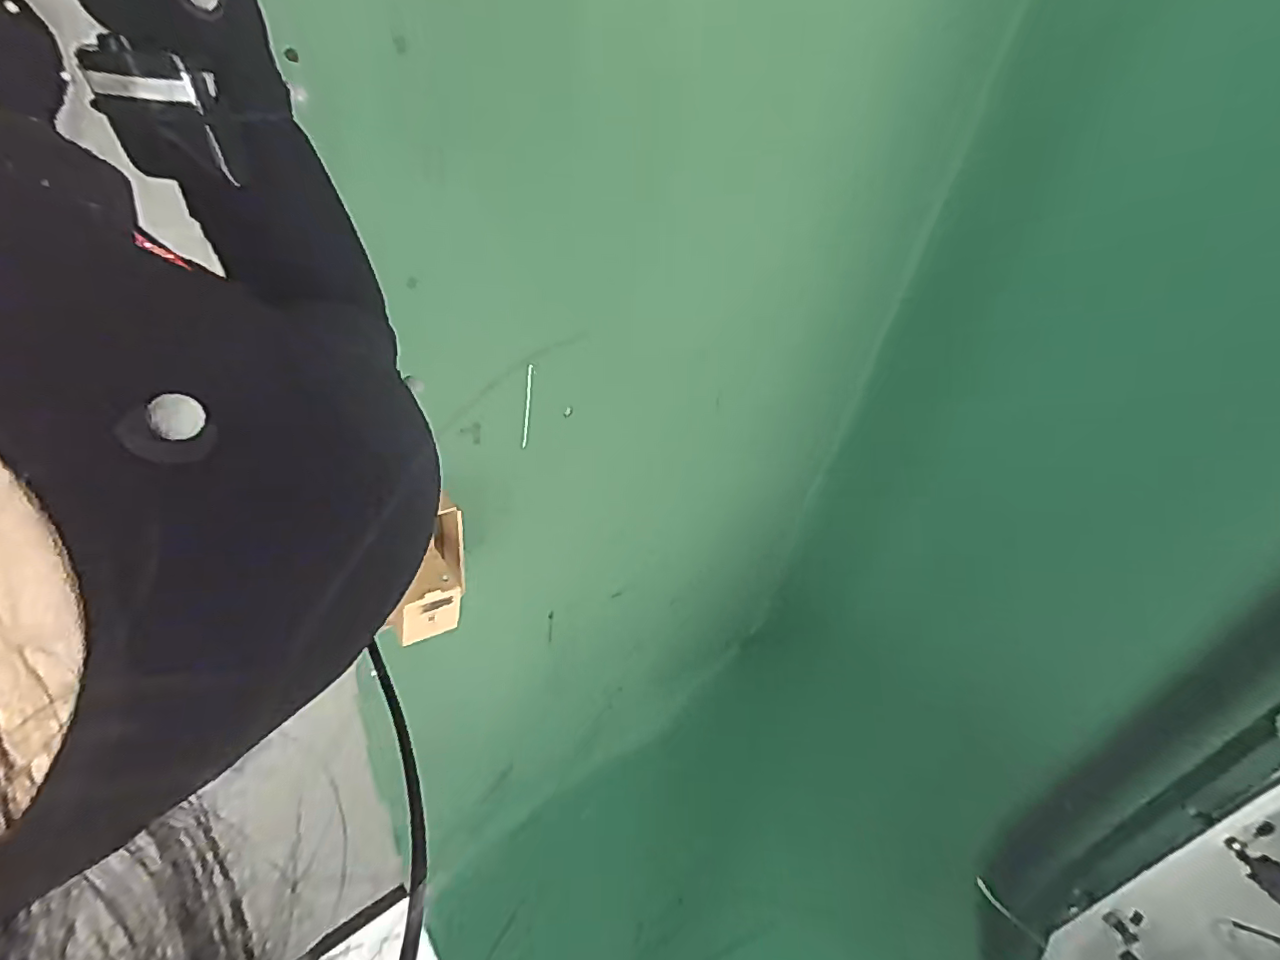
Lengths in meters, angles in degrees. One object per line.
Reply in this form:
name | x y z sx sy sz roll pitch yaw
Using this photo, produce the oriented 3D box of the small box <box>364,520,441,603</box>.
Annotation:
small box | -0.744 0.249 1.699 0.179 0.176 0.168 -18 134 -36
